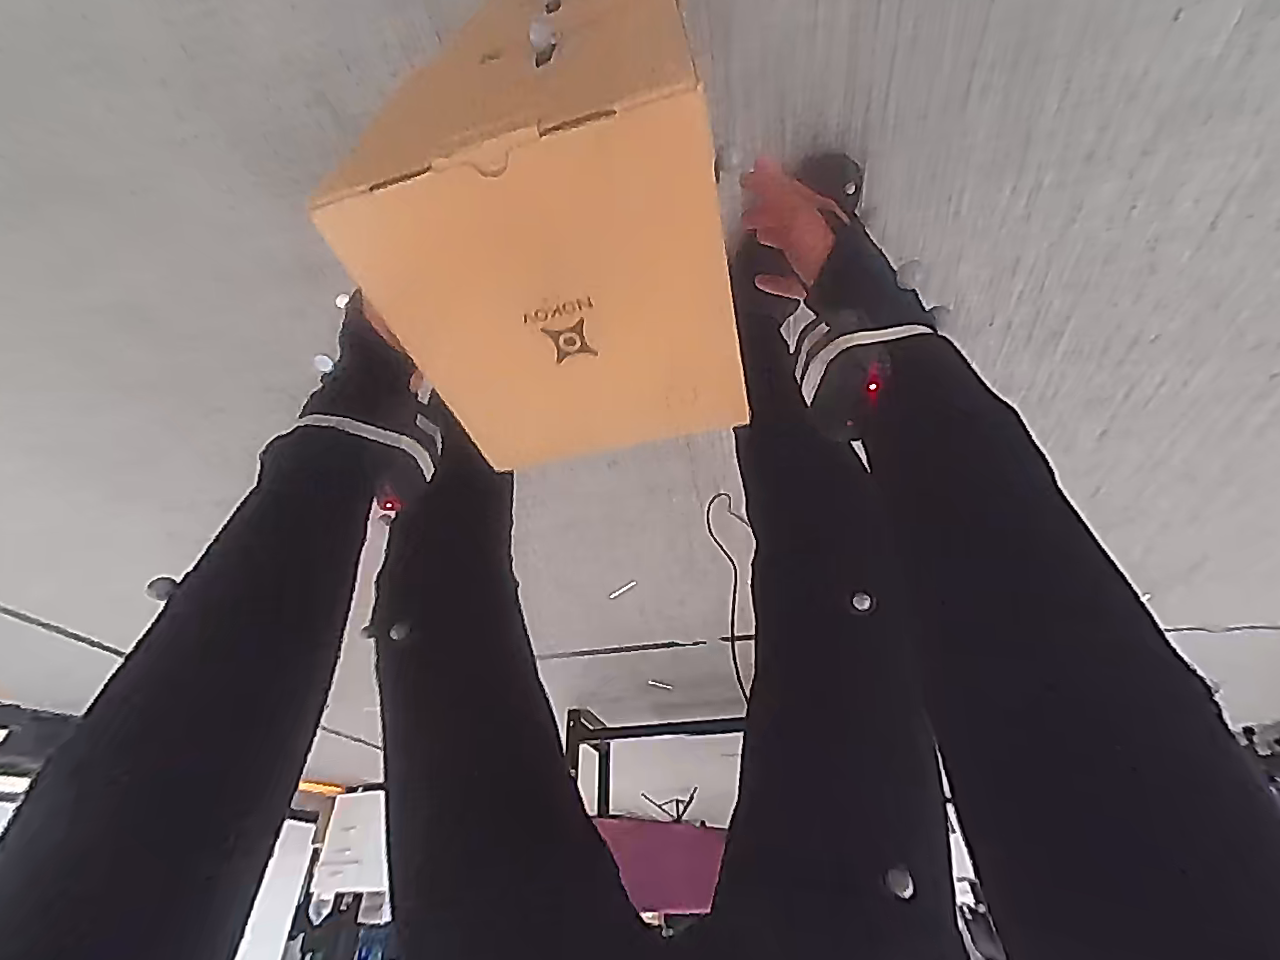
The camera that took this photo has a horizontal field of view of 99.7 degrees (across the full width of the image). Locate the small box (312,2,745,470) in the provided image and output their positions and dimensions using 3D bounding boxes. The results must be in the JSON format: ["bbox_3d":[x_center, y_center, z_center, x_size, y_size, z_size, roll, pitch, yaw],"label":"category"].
[{"bbox_3d":[-0.036,-0.133,0.319,0.168,0.176,0.179,-10,139,11],"label":"small box"}]
